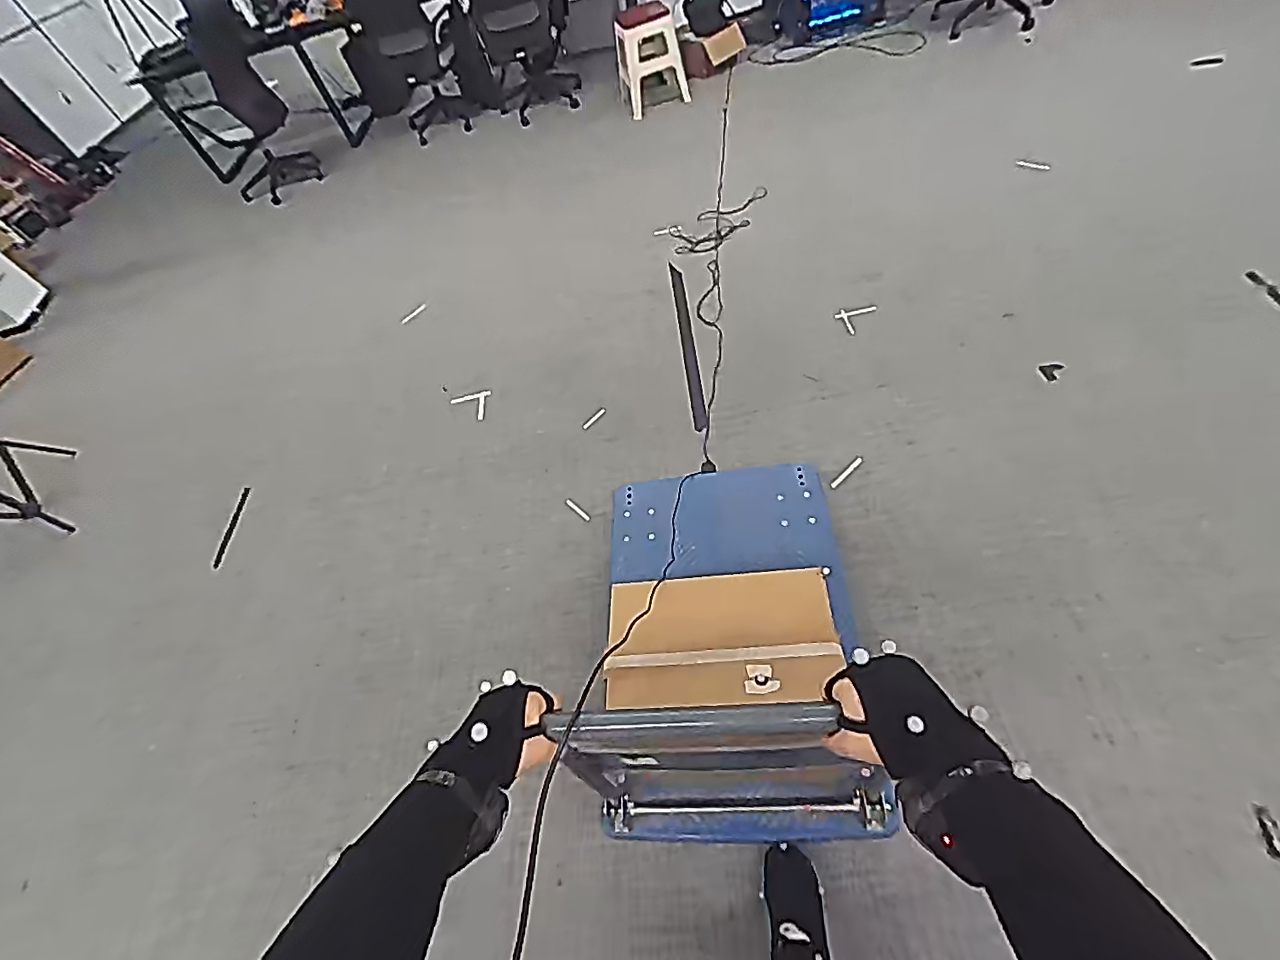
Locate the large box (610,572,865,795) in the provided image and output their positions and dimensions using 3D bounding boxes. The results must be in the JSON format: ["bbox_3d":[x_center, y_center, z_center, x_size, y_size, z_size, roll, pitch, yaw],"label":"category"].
[{"bbox_3d":[0.170,0.403,1.043,0.408,0.320,0.320,-6,53,9],"label":"large box"}]
